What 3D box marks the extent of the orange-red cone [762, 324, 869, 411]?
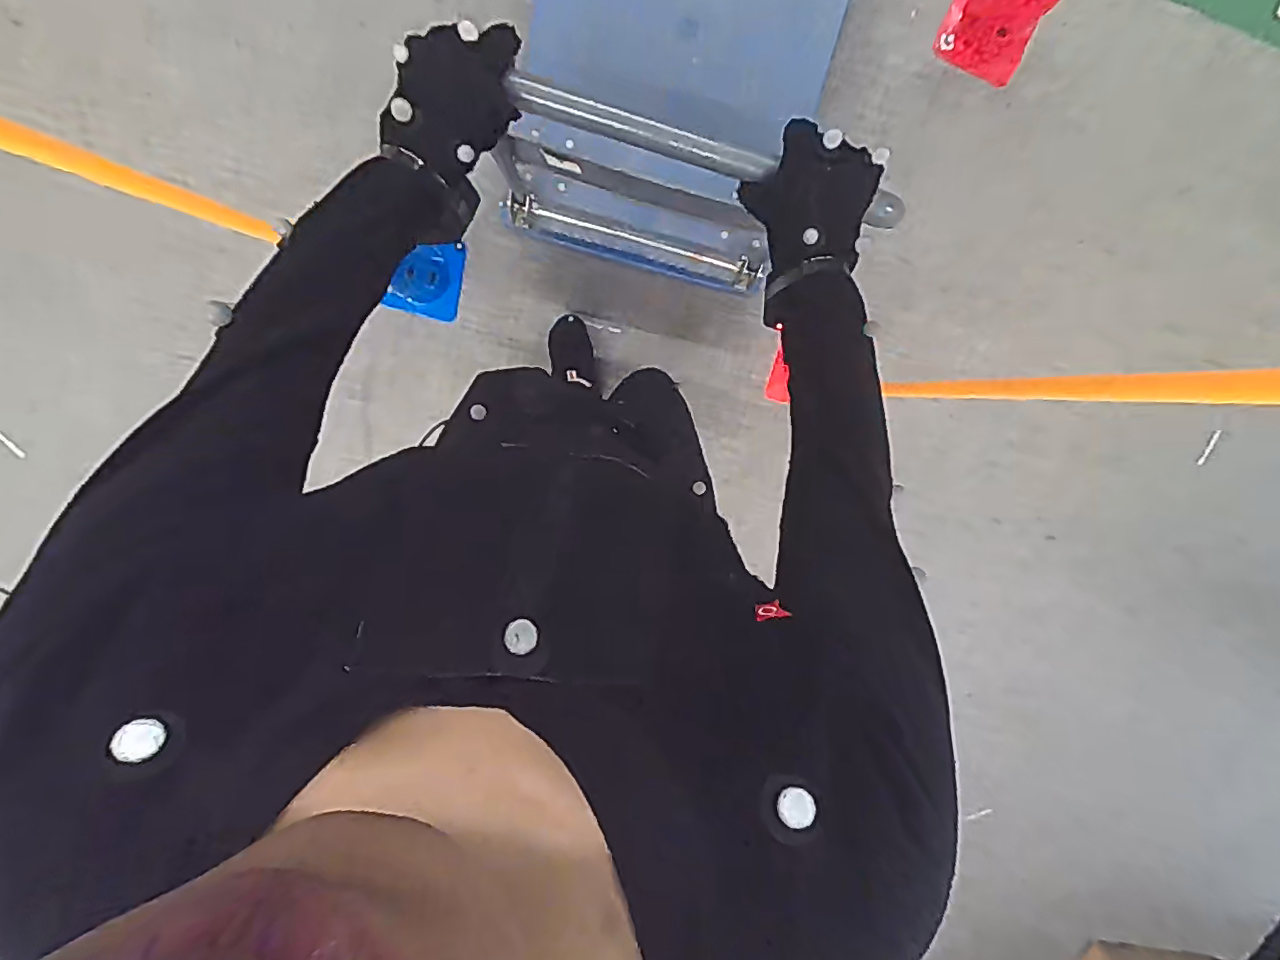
[{"bbox_3d":[0.443,-0.244,1.267,0.199,0.360,0.198,14,106,-5],"label":"orange-red cone"}]
